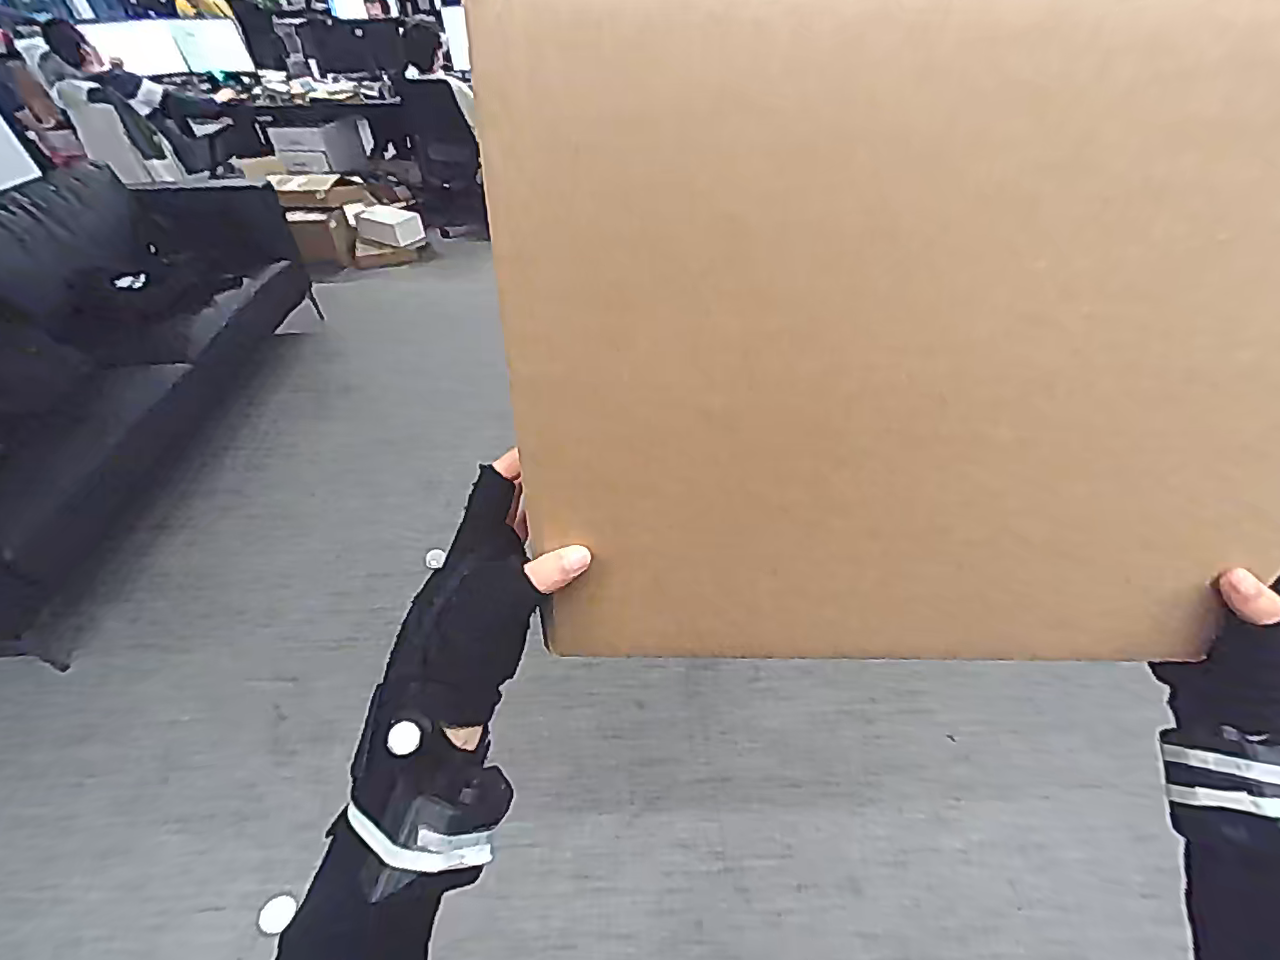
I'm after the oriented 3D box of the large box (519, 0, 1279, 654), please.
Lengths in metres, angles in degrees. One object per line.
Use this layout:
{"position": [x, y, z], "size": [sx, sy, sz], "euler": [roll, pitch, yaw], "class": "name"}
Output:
{"position": [0.148, -0.100, 0.374], "size": [0.408, 0.320, 0.320], "euler": [1, 34, -2], "class": "large box"}
